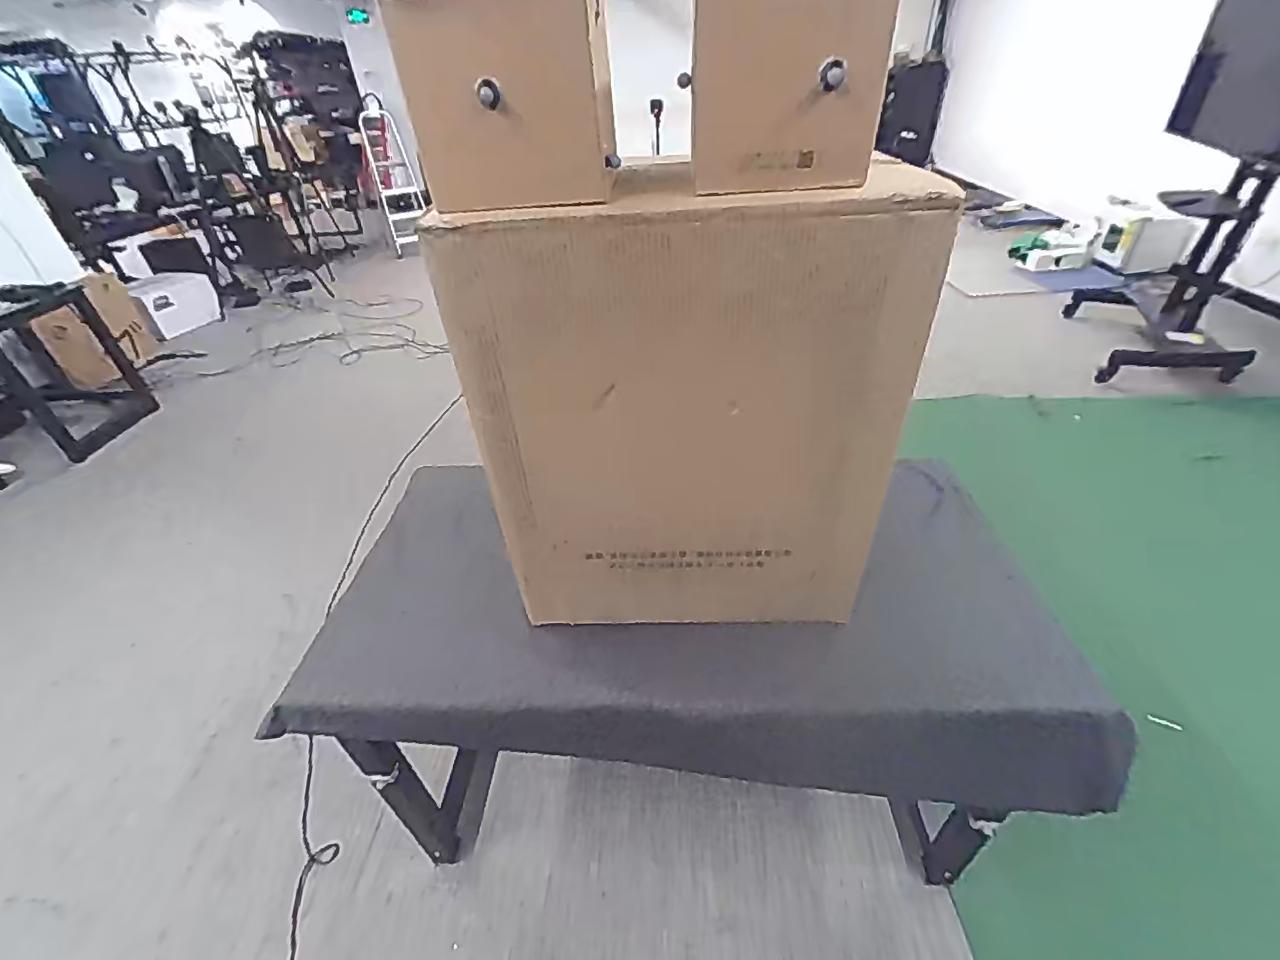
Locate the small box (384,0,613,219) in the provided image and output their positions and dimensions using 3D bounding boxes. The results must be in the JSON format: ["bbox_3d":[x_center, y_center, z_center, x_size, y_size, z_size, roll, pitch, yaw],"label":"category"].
[{"bbox_3d":[-0.120,-0.377,0.549,0.179,0.176,0.168,-2,40,1],"label":"small box"}]

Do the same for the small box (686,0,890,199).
[{"bbox_3d":[0.132,-0.389,0.542,0.168,0.176,0.179,0,38,3],"label":"small box"}]
